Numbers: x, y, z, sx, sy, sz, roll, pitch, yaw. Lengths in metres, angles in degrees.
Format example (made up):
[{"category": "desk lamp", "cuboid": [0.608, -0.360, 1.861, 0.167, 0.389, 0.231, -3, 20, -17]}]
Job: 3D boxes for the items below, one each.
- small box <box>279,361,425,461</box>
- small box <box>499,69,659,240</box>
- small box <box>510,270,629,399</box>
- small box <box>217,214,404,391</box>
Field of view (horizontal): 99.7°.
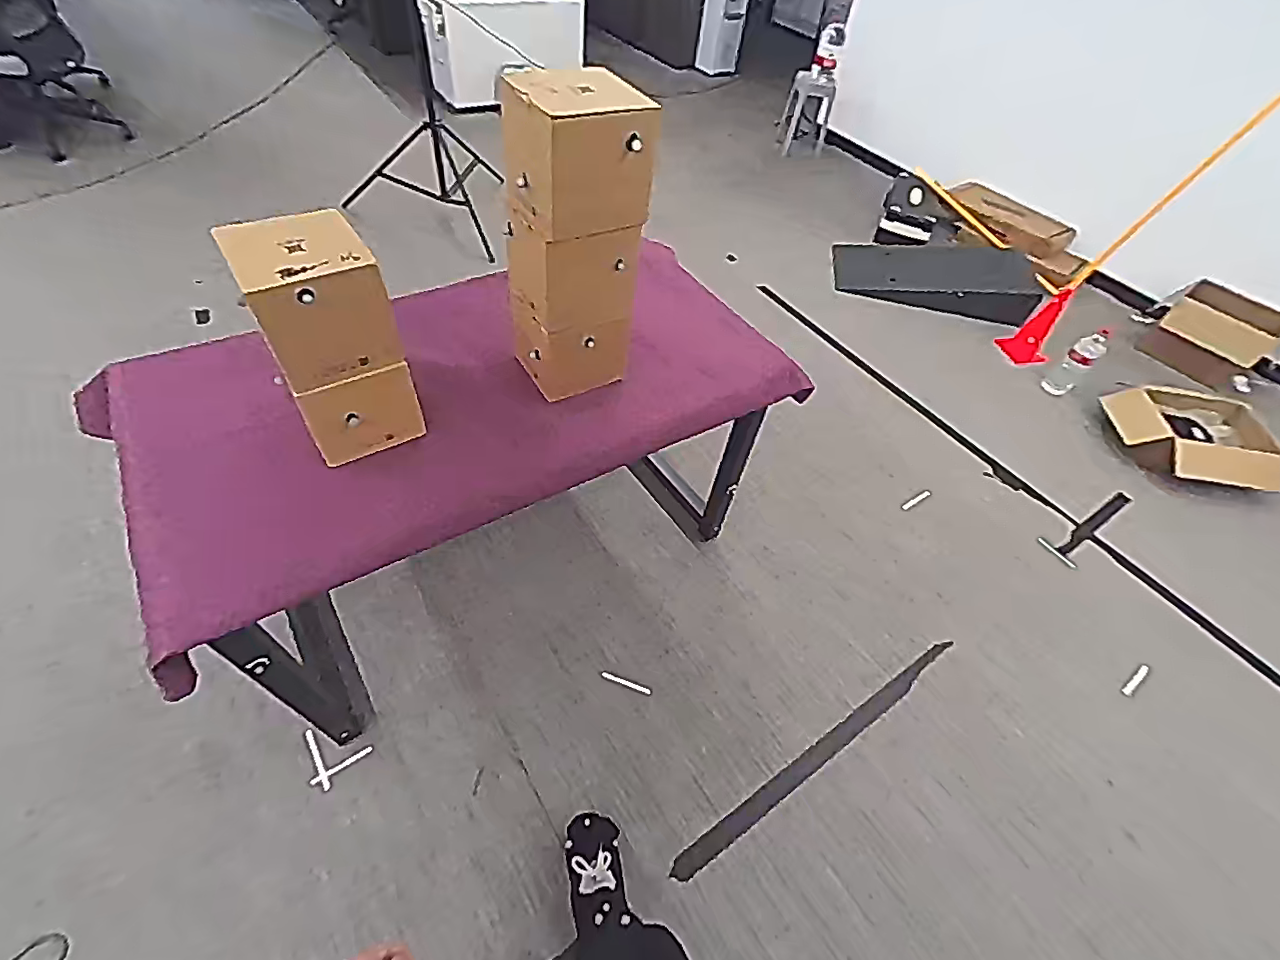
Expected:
[{"category": "small box", "cuboid": [-0.489, -0.154, 0.922, 0.168, 0.176, 0.179, -26, 58, -25]}, {"category": "small box", "cuboid": [-0.096, -0.492, 0.821, 0.179, 0.176, 0.168, -24, 58, -24]}, {"category": "small box", "cuboid": [-0.139, -0.286, 1.074, 0.179, 0.176, 0.168, -23, 58, -24]}, {"category": "small box", "cuboid": [-0.476, -0.262, 0.799, 0.168, 0.176, 0.179, -28, 58, -26]}]
